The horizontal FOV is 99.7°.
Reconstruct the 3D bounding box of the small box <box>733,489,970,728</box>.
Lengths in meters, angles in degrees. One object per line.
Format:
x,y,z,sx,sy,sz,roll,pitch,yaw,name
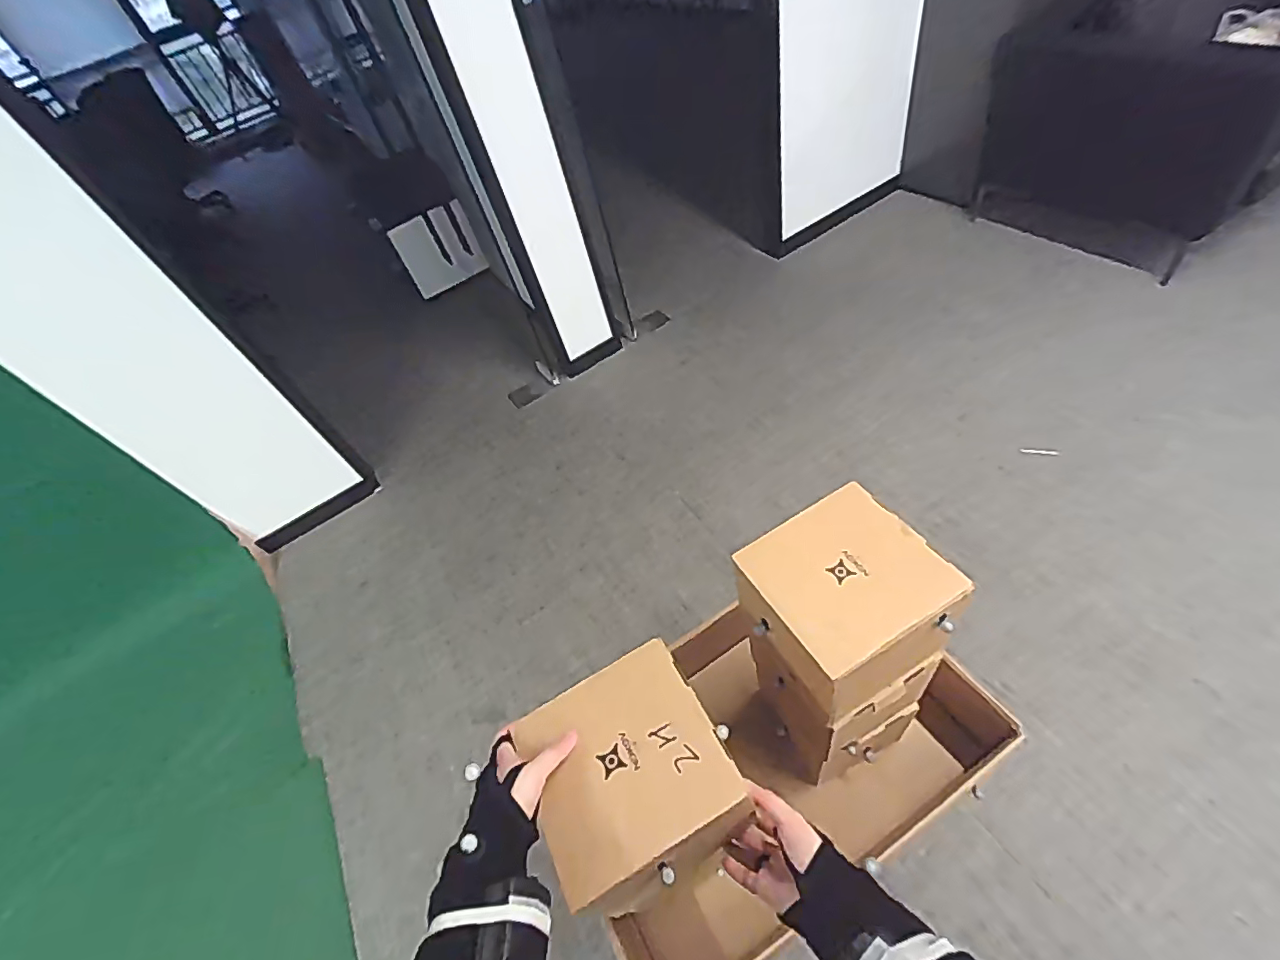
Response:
0.229,0.151,0.620,0.179,0.176,0.168,-30,50,-10,small box

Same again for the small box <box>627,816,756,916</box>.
0.031,0.404,0.682,0.168,0.176,0.179,-30,49,-10,small box

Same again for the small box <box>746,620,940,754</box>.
0.267,0.250,0.744,0.168,0.176,0.179,-29,49,-9,small box

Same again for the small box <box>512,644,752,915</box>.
-0.001,0.308,0.553,0.179,0.176,0.168,-28,50,-9,small box
